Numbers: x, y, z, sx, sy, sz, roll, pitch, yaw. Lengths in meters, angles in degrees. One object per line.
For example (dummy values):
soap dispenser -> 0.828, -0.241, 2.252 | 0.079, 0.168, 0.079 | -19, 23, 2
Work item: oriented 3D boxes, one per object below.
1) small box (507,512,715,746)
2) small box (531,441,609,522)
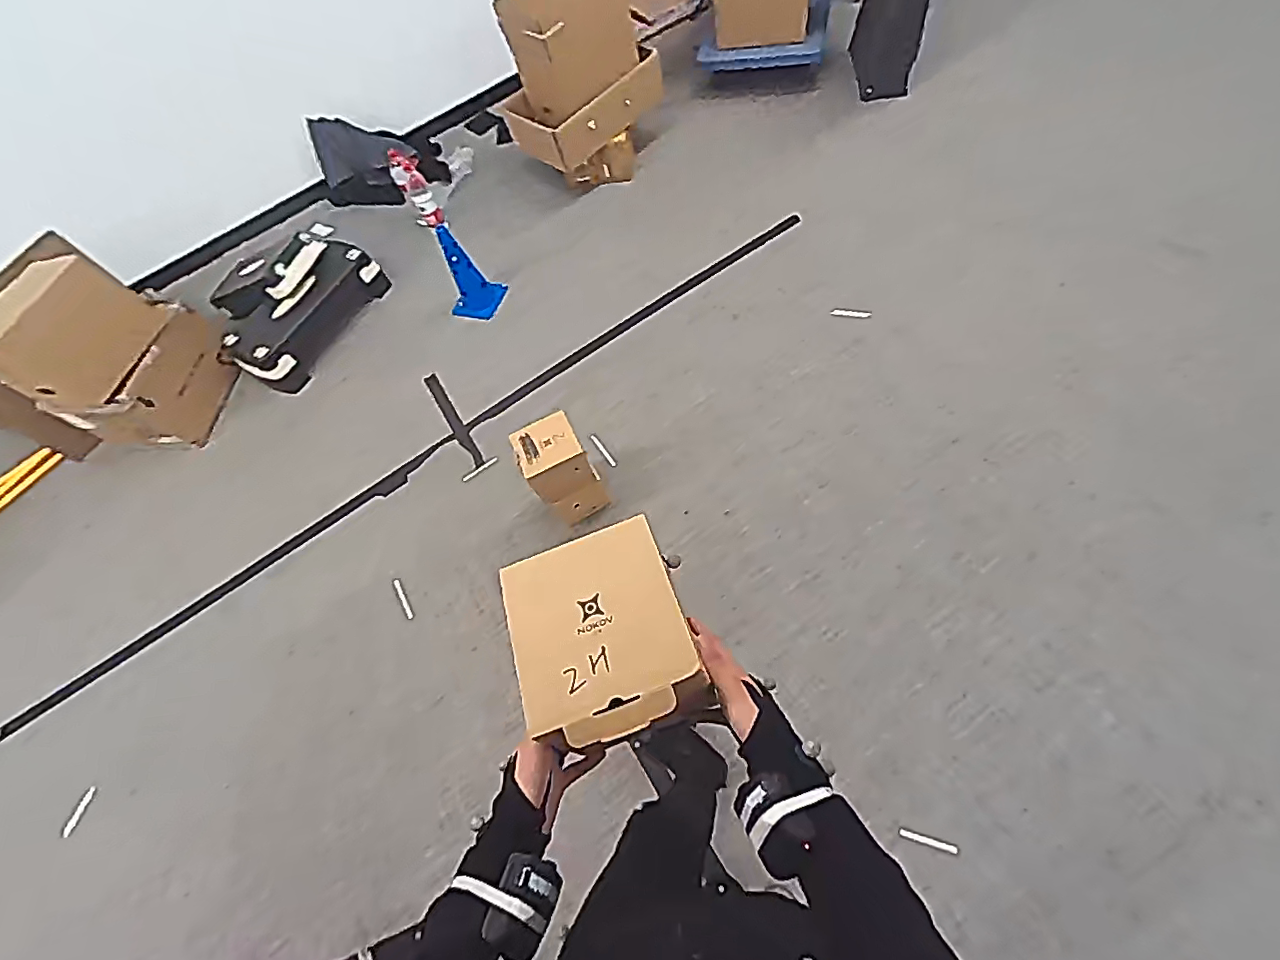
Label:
small box -> -0.027, 0.168, 0.590 | 0.168, 0.176, 0.179 | -21, 57, 1
small box -> -0.216, 0.015, 1.716 | 0.168, 0.176, 0.179 | -31, 61, -6
